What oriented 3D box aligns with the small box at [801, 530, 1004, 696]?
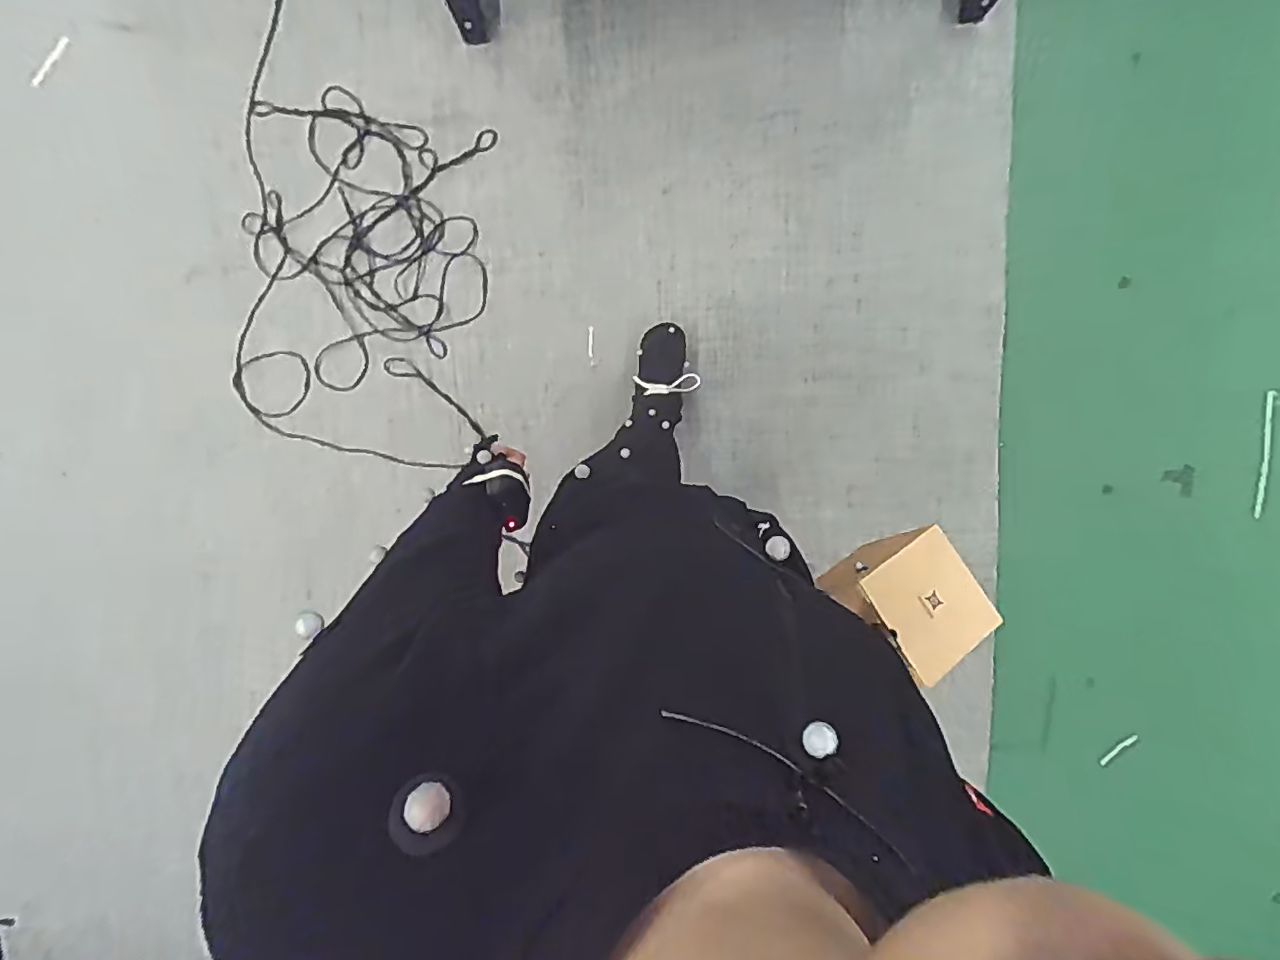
[{"bbox_3d":[0.381,0.197,0.810,0.179,0.176,0.168,-27,81,-22],"label":"small box"}]
